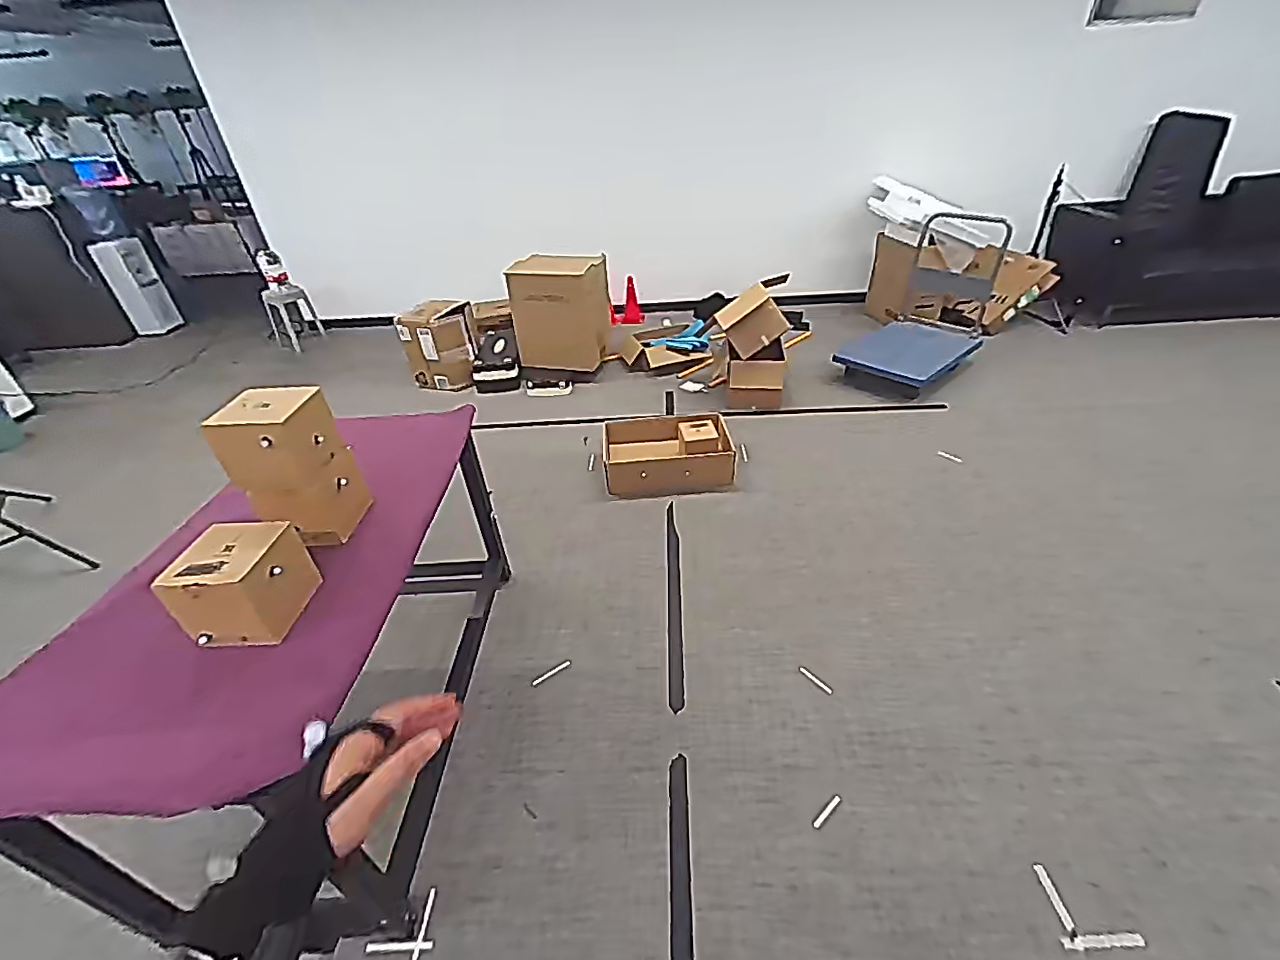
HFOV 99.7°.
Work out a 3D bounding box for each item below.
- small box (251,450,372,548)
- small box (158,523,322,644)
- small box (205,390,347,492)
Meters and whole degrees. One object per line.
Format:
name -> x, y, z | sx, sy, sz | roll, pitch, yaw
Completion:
small box -> -0.775, 0.045, 1.303 | 0.168, 0.176, 0.179 | -2, 36, 3
small box -> -0.770, 0.207, 1.068 | 0.168, 0.176, 0.179 | -2, 34, 2
small box -> -0.793, -0.086, 1.203 | 0.179, 0.176, 0.168 | -2, 35, 3
